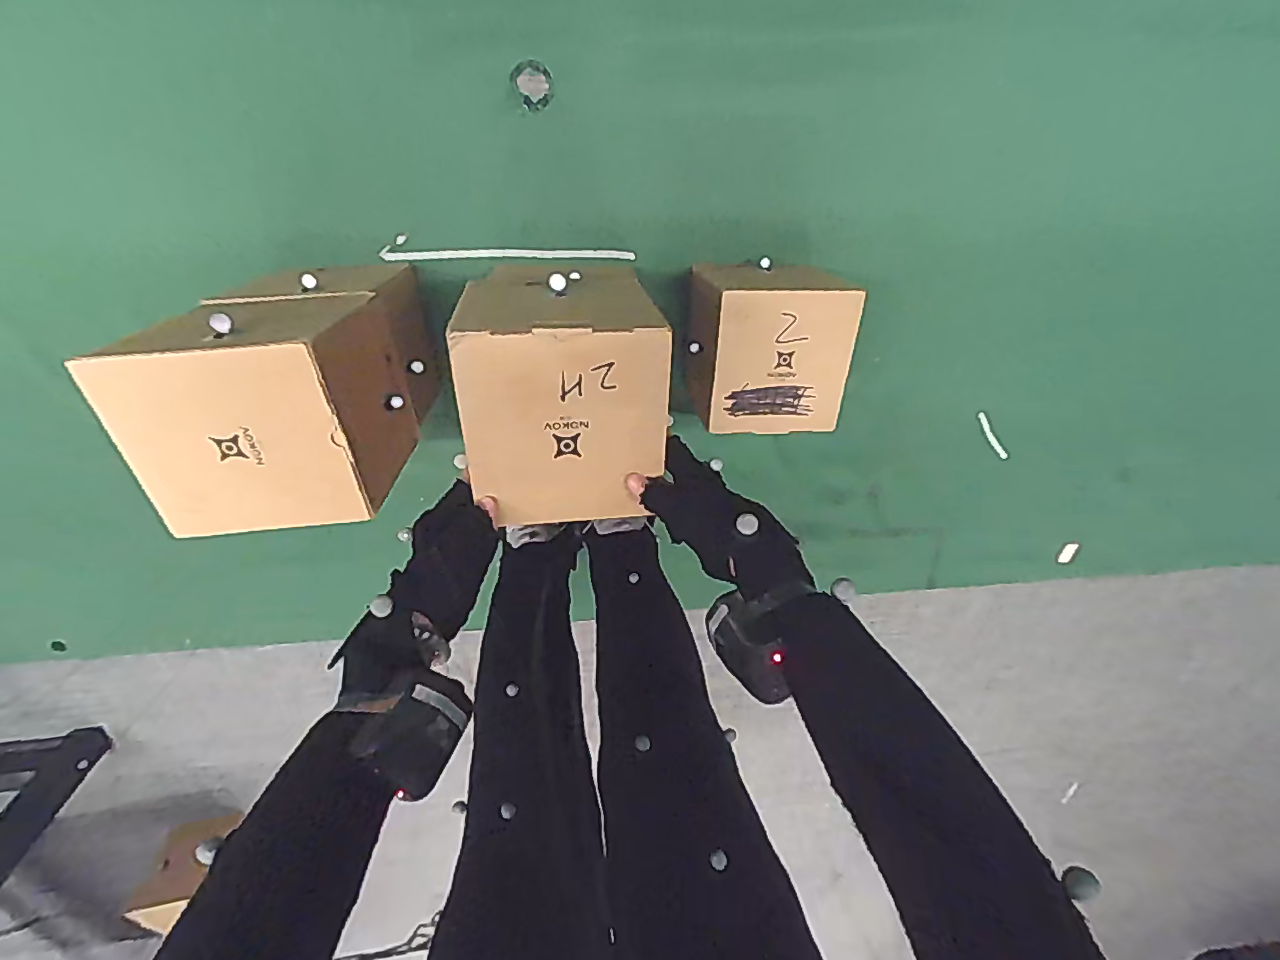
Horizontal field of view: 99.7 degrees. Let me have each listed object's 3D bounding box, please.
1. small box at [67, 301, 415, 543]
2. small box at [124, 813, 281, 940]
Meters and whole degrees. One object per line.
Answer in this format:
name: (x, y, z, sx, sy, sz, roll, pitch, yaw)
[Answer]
small box: (-0.336, -0.062, 0.506, 0.179, 0.176, 0.168, -6, 122, -4)
small box: (-0.956, 0.877, 1.203, 0.179, 0.176, 0.168, -13, 123, 2)
